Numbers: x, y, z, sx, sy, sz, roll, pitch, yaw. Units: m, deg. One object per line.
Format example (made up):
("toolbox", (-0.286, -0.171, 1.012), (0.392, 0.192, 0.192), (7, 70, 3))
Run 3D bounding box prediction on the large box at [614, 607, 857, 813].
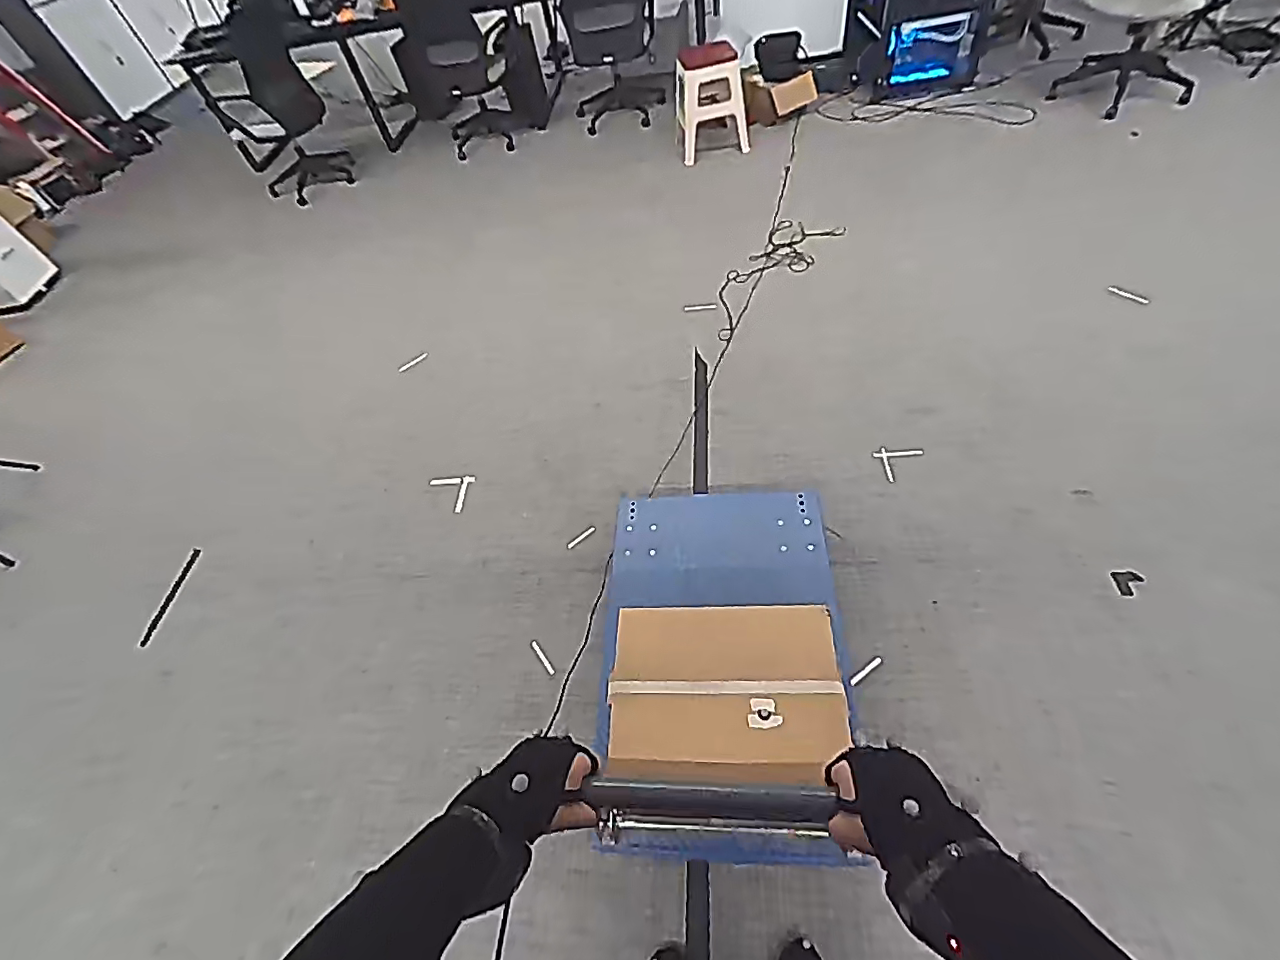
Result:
("large box", (0.174, 0.471, 1.089), (0.408, 0.320, 0.320), (-3, 52, 8))
